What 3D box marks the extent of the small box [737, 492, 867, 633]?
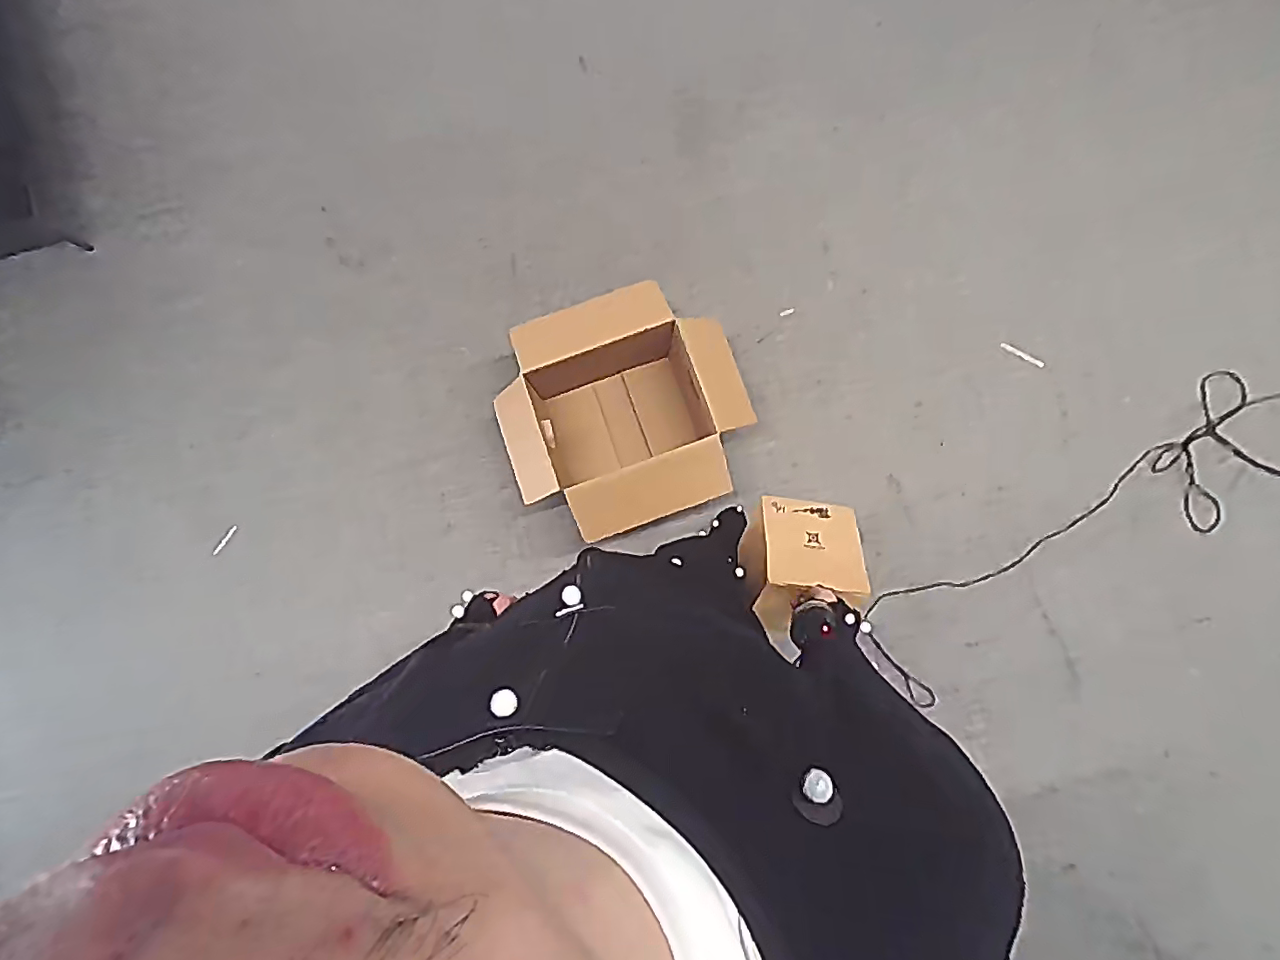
[{"bbox_3d":[0.273,0.150,0.953,0.168,0.176,0.179,10,51,-3],"label":"small box"}]
